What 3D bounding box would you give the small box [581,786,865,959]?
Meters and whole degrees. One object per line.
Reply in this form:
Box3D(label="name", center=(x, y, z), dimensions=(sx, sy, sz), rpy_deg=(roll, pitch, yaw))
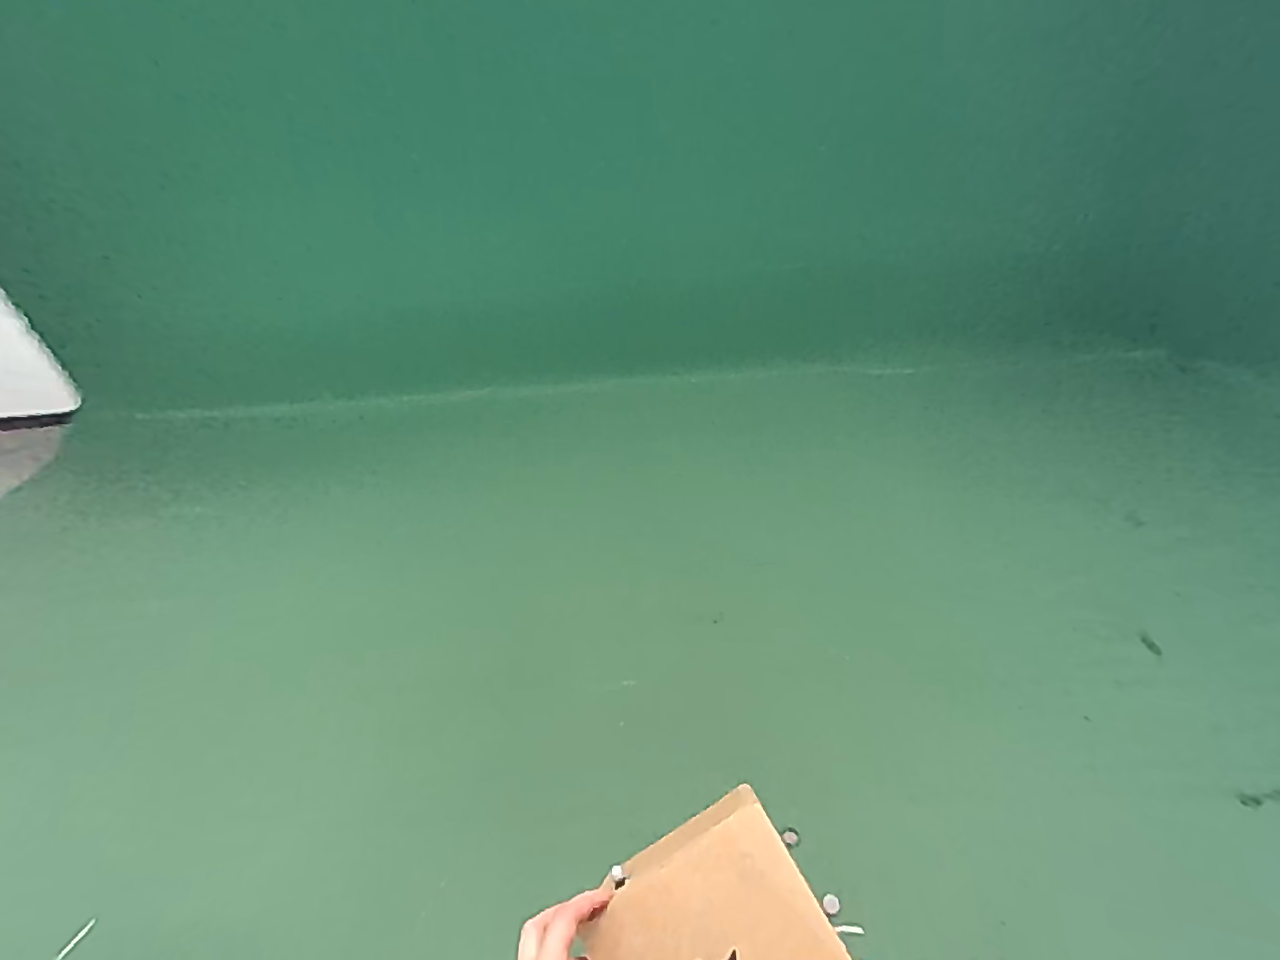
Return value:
Box3D(label="small box", center=(0.075, 0.390, 0.459), dimensions=(0.179, 0.176, 0.168), rpy_deg=(-31, 66, -7))
